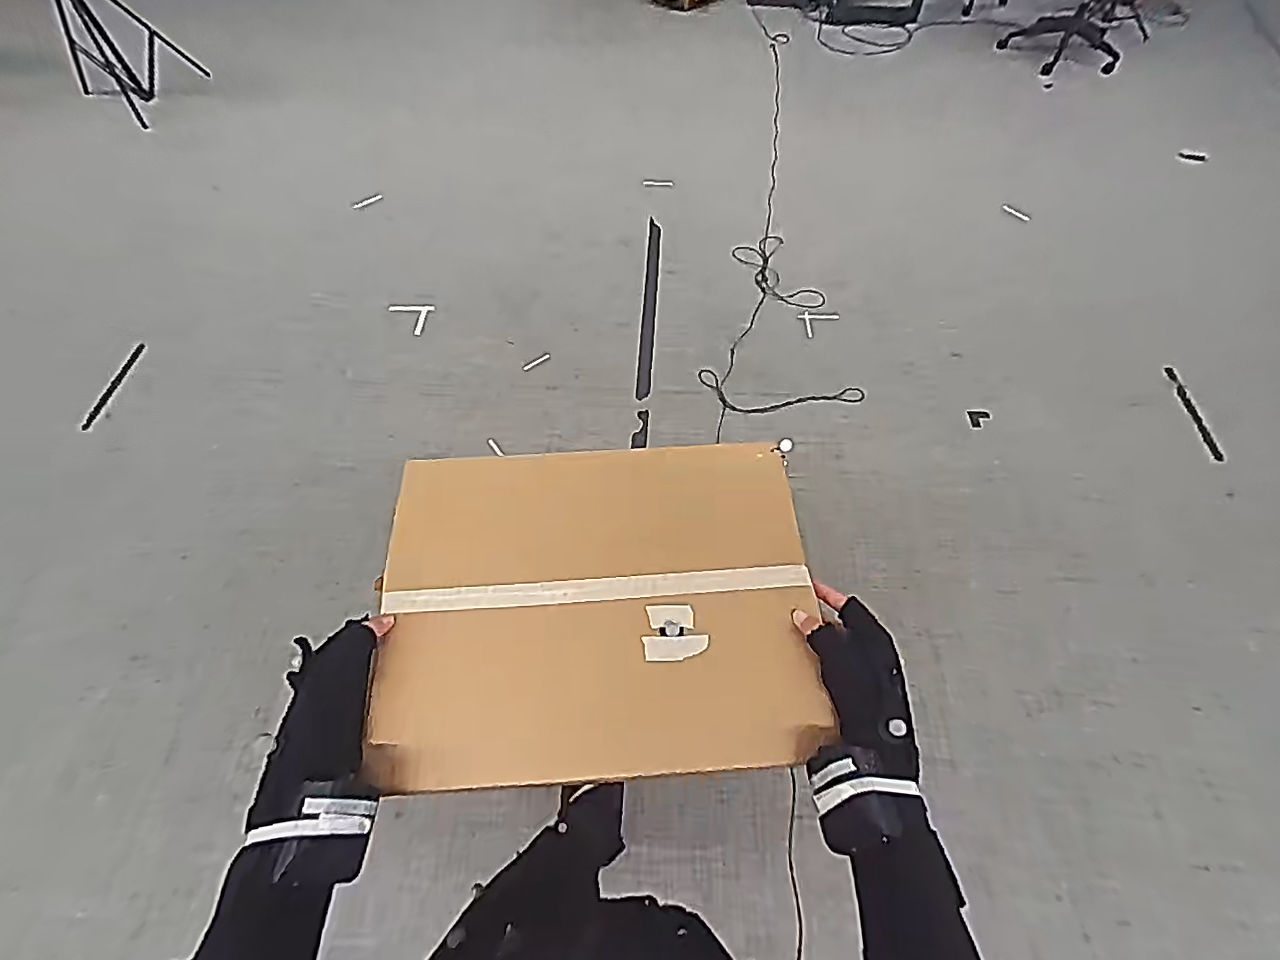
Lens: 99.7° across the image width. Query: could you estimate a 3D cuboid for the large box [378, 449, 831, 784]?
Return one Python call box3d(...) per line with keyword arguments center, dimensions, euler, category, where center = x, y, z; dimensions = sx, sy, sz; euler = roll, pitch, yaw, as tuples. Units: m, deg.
box3d(center=(-0.041, 0.182, 0.667), dimensions=(0.408, 0.320, 0.320), euler=(-3, 62, -2), category="large box")
